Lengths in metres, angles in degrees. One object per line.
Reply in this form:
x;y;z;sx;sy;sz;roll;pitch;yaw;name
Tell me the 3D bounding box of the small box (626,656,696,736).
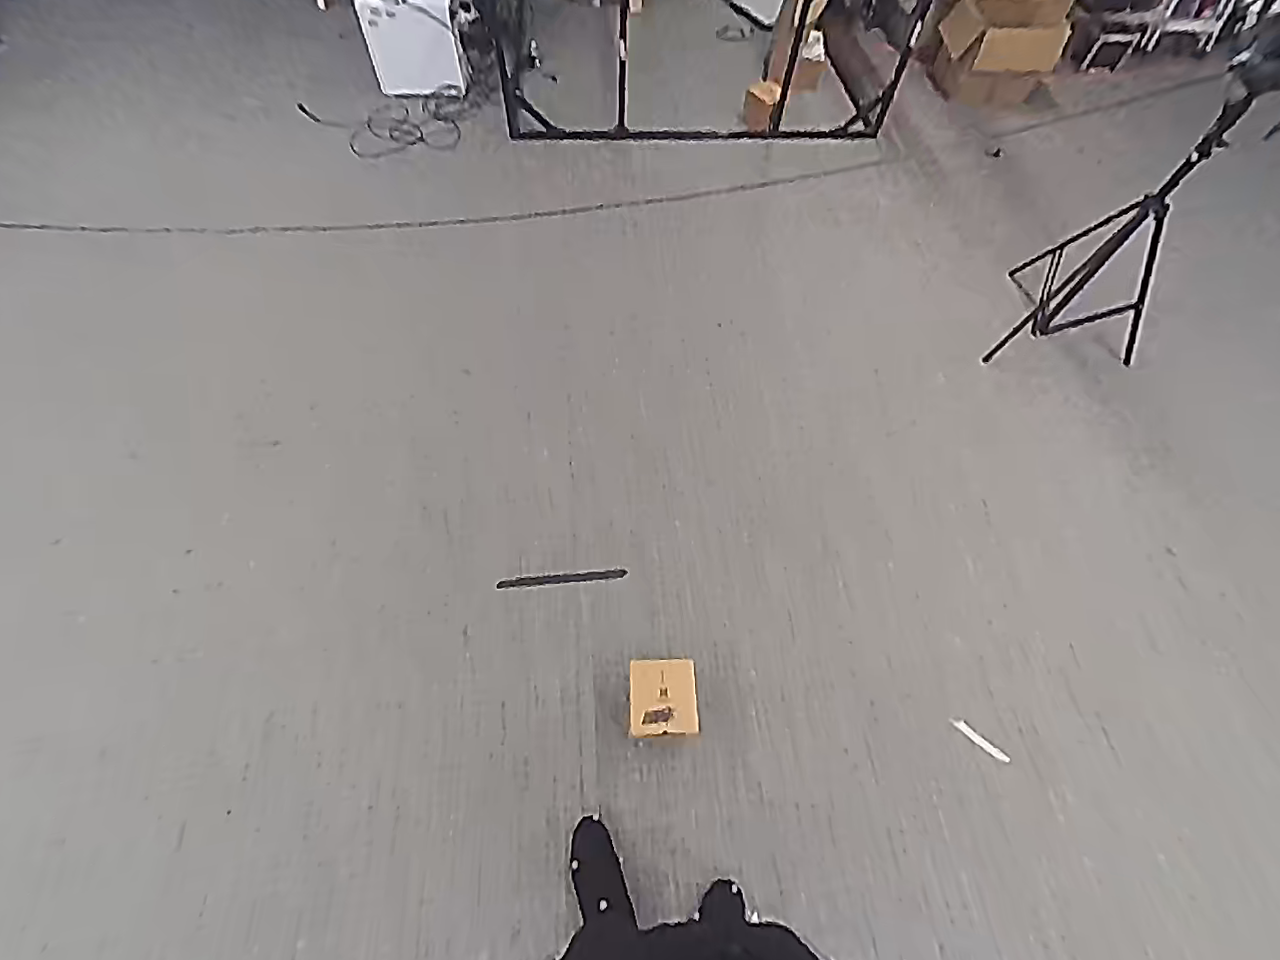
0.049;0.565;1.404;0.168;0.176;0.179;0;59;-4;small box
